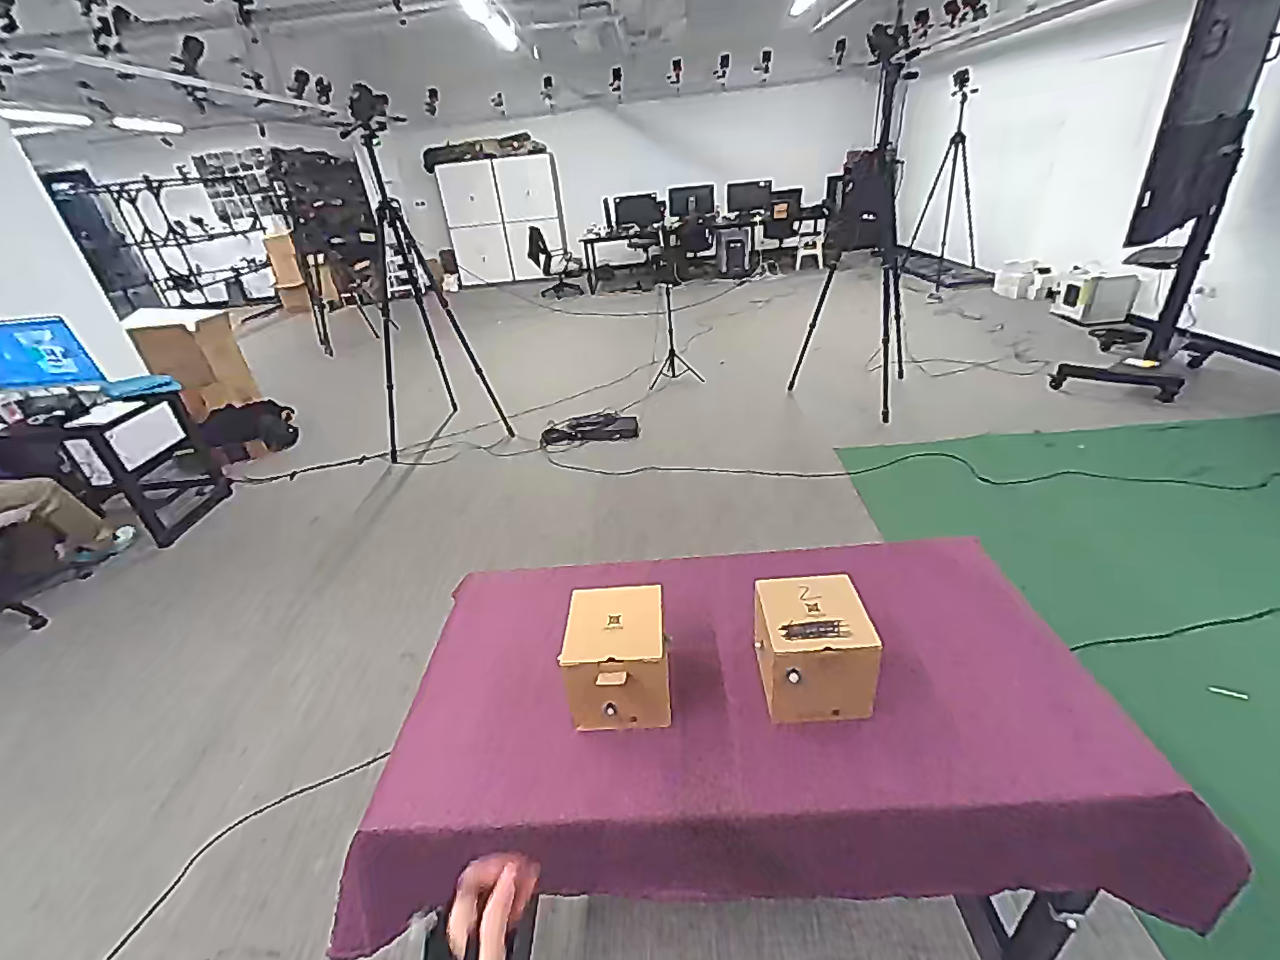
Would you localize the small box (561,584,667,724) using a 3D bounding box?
[{"bbox_3d":[-0.039,0.313,0.979,0.168,0.176,0.179,-4,31,4],"label":"small box"}]
